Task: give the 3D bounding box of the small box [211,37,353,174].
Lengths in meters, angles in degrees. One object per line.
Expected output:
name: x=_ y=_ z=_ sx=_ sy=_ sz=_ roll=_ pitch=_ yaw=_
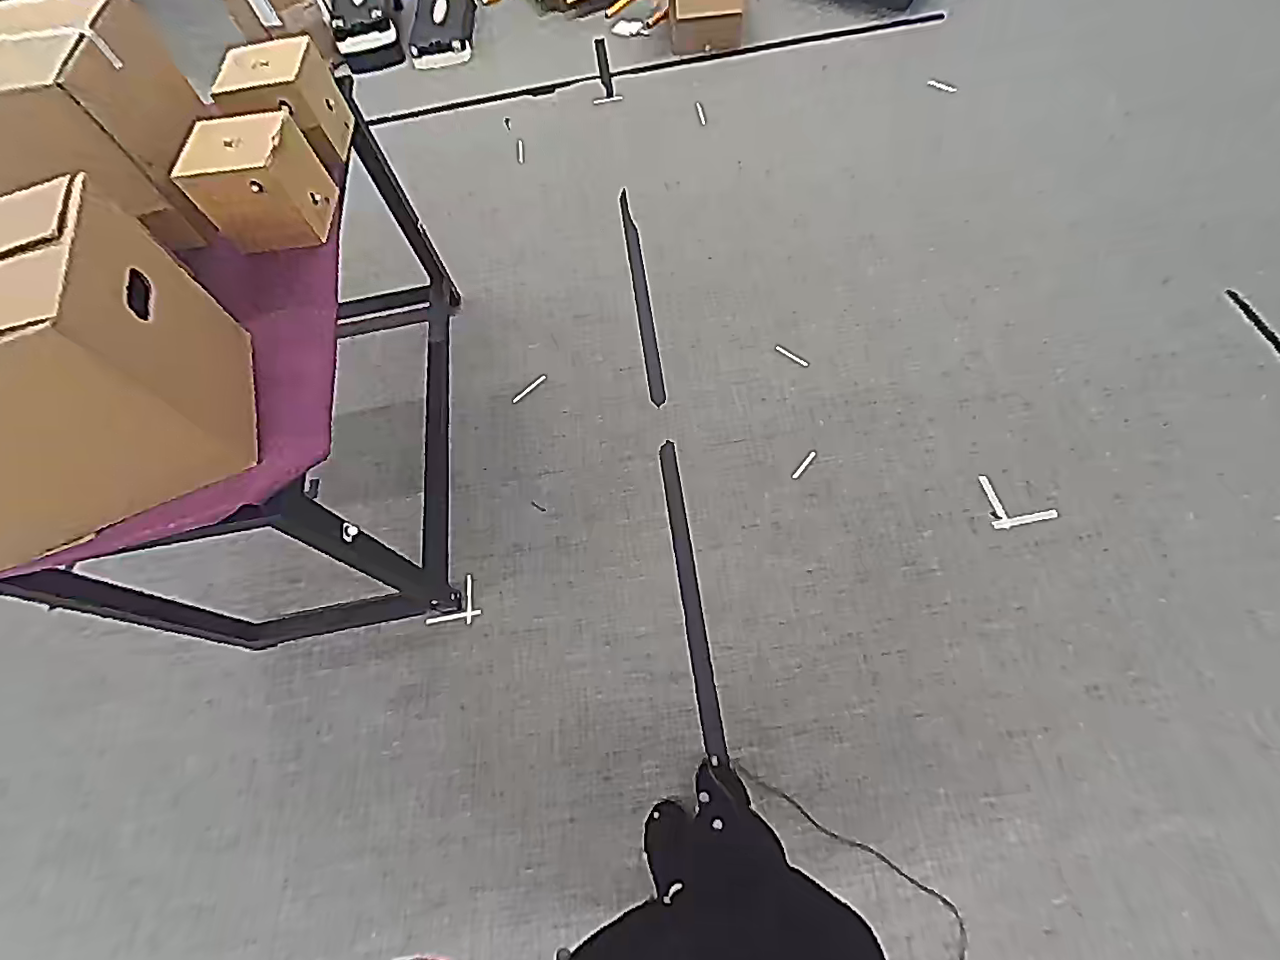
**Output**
small box: x=-0.743 y=-0.787 z=1.147 sx=0.179 sy=0.176 sz=0.168 roll=-8 pitch=63 yaw=4
